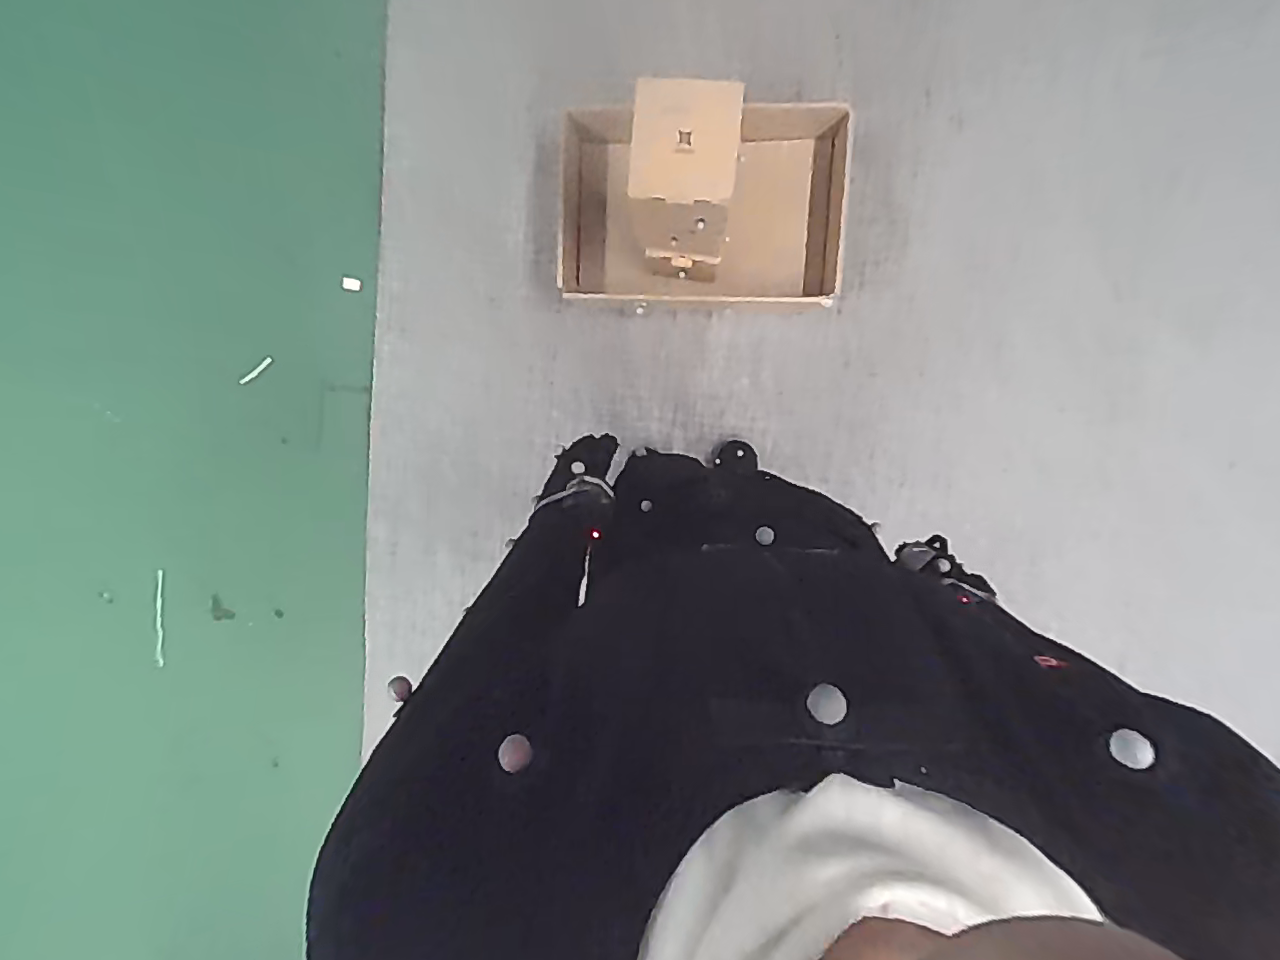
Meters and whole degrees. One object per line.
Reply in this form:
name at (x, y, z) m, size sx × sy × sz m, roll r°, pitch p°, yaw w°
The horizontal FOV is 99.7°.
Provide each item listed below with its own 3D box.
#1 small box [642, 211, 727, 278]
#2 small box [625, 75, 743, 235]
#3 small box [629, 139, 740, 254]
small box at (0.105, -0.570, 1.225) m, size 0.168 × 0.176 × 0.179 m, roll 9°, pitch 99°, yaw 4°
small box at (0.072, -0.529, 0.903) m, size 0.168 × 0.176 × 0.179 m, roll 6°, pitch 96°, yaw 3°
small box at (0.087, -0.559, 1.062) m, size 0.179 × 0.176 × 0.168 m, roll 12°, pitch 98°, yaw 5°
